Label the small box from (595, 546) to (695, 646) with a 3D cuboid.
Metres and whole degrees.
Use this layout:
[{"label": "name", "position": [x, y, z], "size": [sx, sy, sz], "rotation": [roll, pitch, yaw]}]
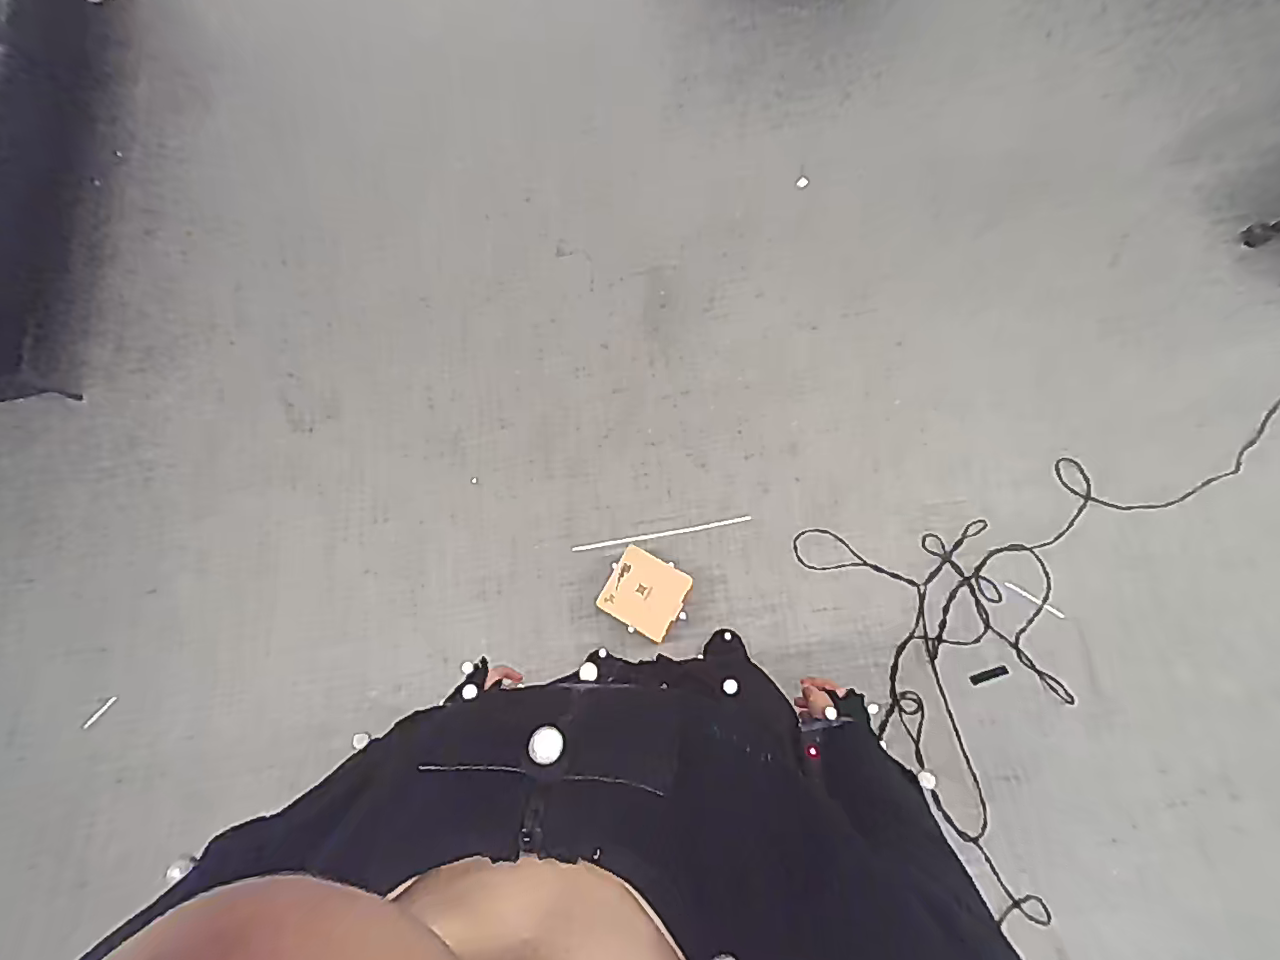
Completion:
[{"label": "small box", "position": [0.020, 0.279, 1.298], "size": [0.179, 0.176, 0.168], "rotation": [28, 78, 13]}]
